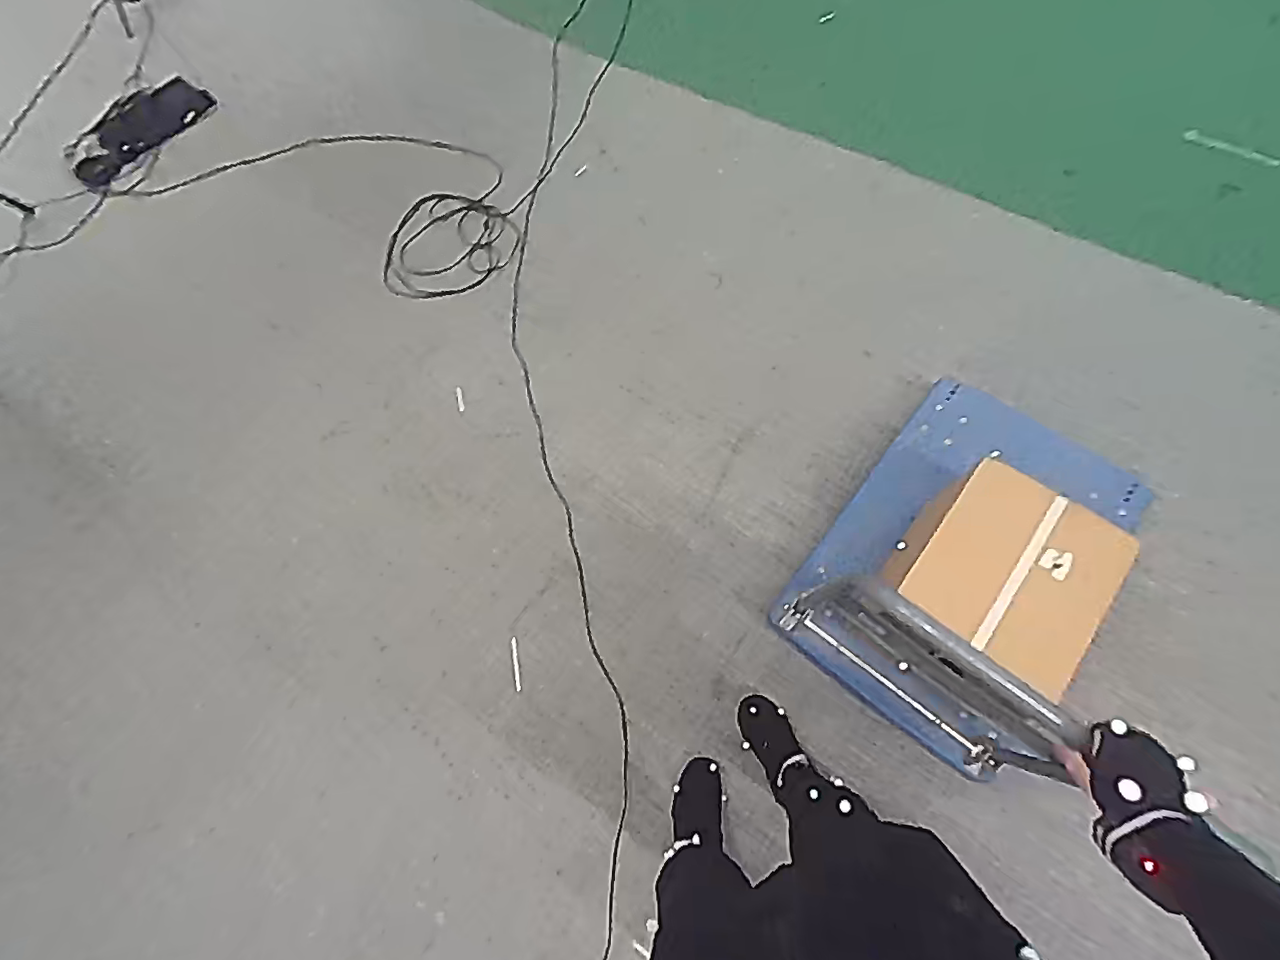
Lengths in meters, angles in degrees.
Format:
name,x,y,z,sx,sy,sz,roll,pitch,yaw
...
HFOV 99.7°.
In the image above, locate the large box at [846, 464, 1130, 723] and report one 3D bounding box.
name,x,y,z,sx,sy,sz,roll,pitch,yaw
large box,0.713,0.253,1.165,0.320,0.320,0.408,36,75,16
